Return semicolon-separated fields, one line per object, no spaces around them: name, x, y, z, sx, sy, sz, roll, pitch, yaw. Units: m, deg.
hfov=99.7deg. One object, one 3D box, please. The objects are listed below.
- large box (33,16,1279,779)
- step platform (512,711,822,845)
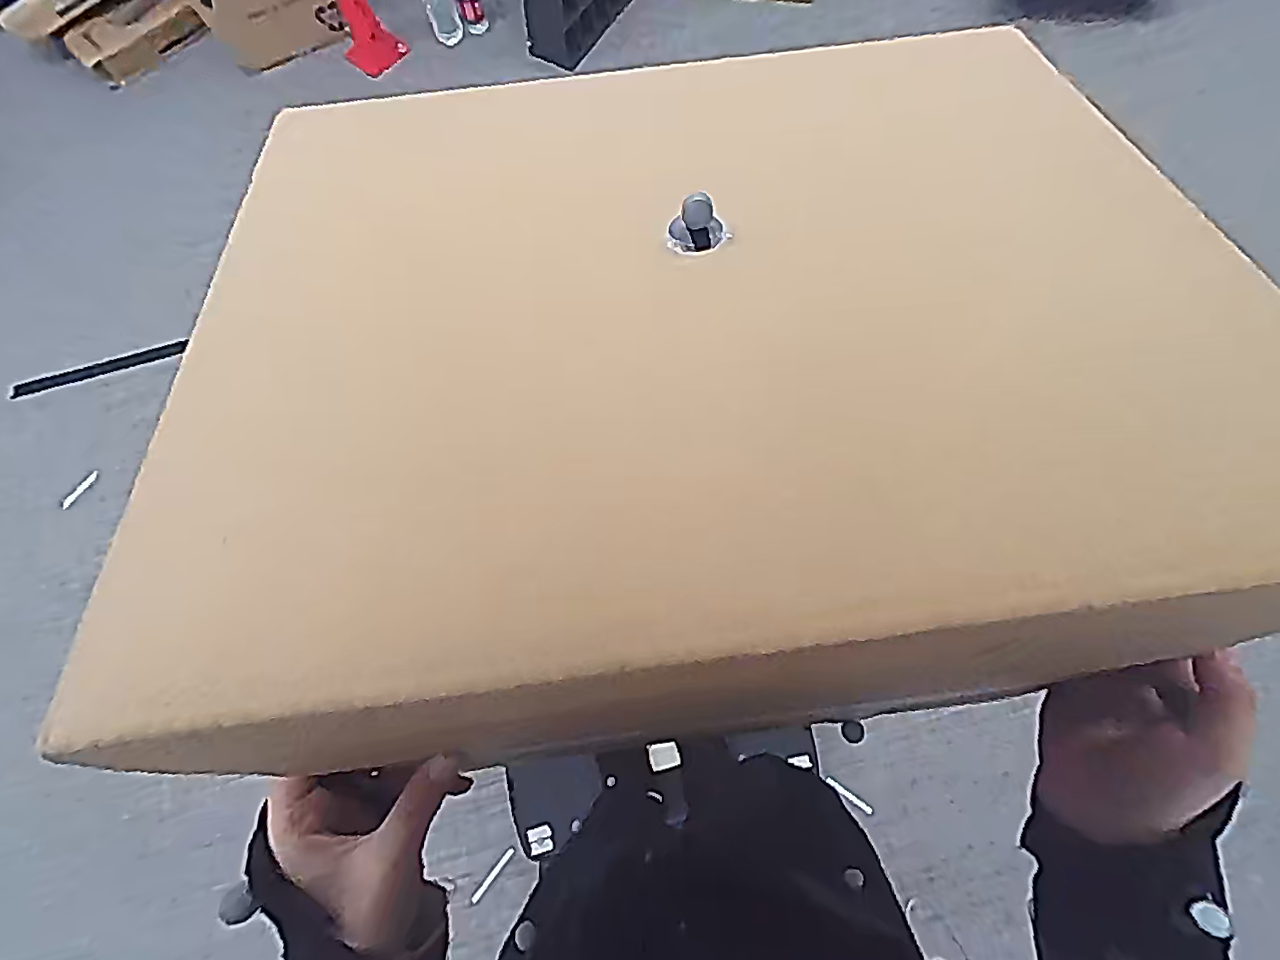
large box;0.016;-0.017;0.346;0.408;0.320;0.320;-9;62;0
step platform;0.055;0.607;1.244;0.684;0.204;0.286;-10;73;0
